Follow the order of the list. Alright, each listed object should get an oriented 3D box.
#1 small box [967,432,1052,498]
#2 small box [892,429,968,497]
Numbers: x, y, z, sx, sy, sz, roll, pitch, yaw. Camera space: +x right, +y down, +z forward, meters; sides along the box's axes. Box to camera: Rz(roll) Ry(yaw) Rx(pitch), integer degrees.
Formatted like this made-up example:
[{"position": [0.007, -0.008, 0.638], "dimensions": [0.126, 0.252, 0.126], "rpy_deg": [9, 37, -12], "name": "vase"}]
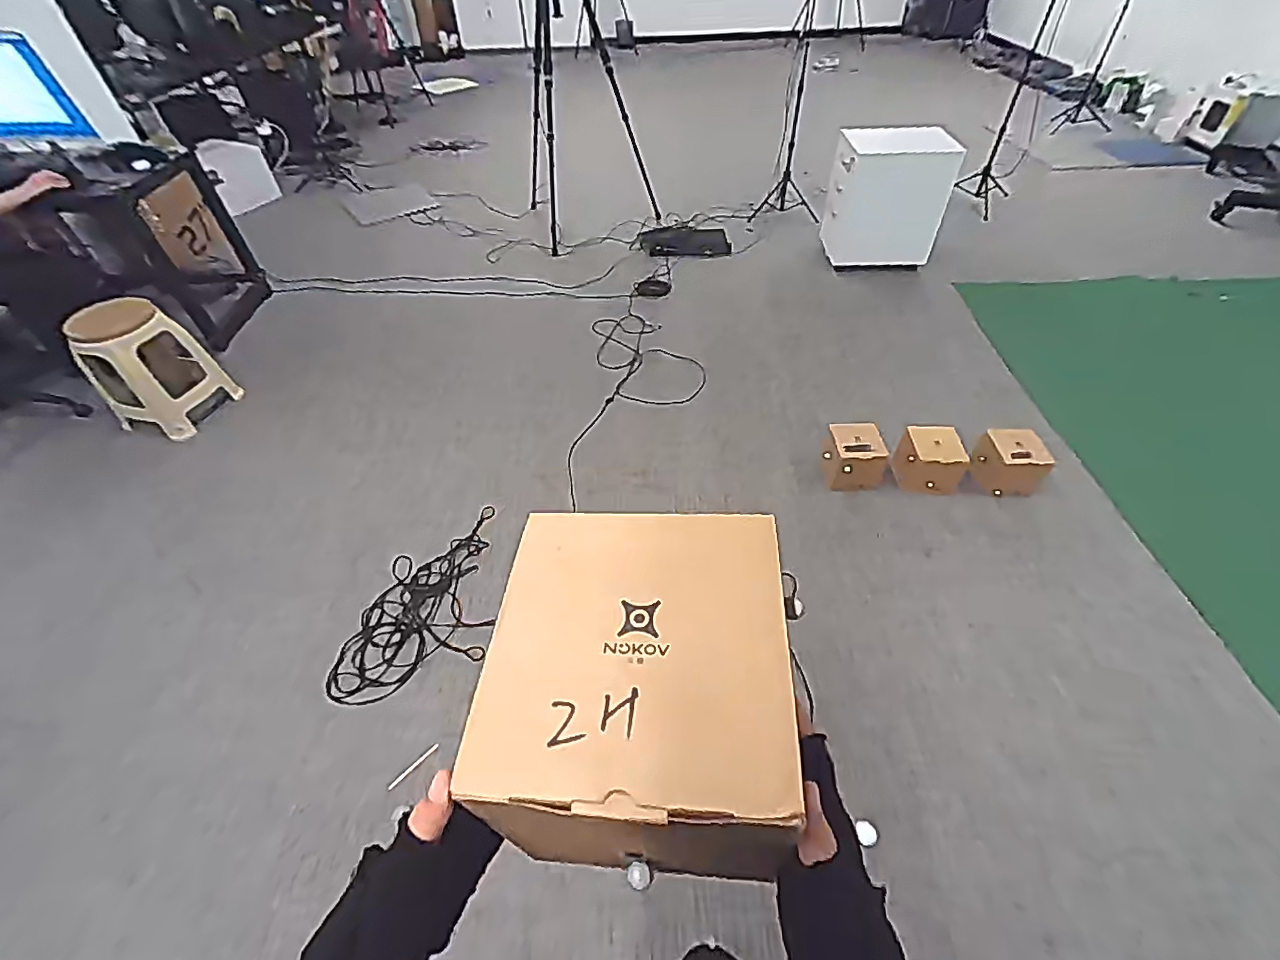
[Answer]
[{"position": [1.290, -0.050, 1.904], "dimensions": [0.168, 0.176, 0.179], "rpy_deg": [1, 47, 2], "name": "small box"}, {"position": [1.022, -0.062, 1.923], "dimensions": [0.168, 0.176, 0.179], "rpy_deg": [1, 48, 2], "name": "small box"}]
